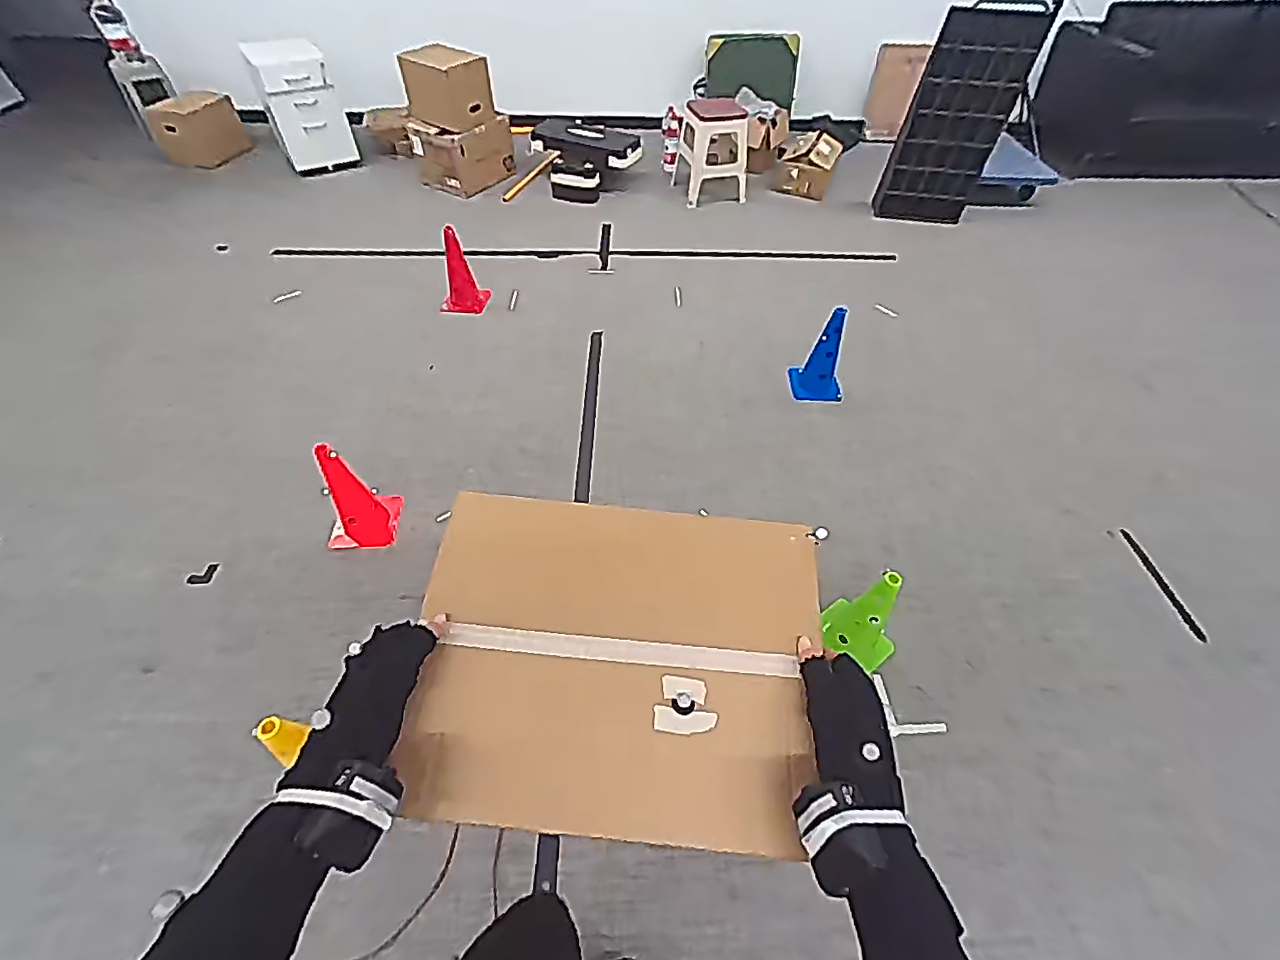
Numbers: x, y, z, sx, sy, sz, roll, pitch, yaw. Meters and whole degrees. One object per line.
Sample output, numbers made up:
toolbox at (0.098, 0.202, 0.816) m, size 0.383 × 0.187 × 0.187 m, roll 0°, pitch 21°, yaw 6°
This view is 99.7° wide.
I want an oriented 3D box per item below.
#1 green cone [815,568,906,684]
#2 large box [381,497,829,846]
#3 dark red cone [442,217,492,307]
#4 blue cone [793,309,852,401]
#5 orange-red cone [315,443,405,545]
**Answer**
green cone at (0.600, 0.344, 1.407) m, size 0.202 × 0.368 × 0.200 m, roll -29°, pitch 57°, yaw -25°
large box at (-0.026, 0.241, 0.672) m, size 0.408 × 0.320 × 0.320 m, roll 6°, pitch 61°, yaw 1°
dark red cone at (-0.817, -0.989, 2.456) m, size 0.201 × 0.394 × 0.202 m, roll 6°, pitch 50°, yaw 2°
blue cone at (0.750, -0.504, 2.140) m, size 0.192 × 0.380 × 0.193 m, roll 4°, pitch 50°, yaw 0°
orange-red cone at (-0.885, 0.023, 1.642) m, size 0.198 × 0.360 × 0.199 m, roll -2°, pitch 52°, yaw -2°
